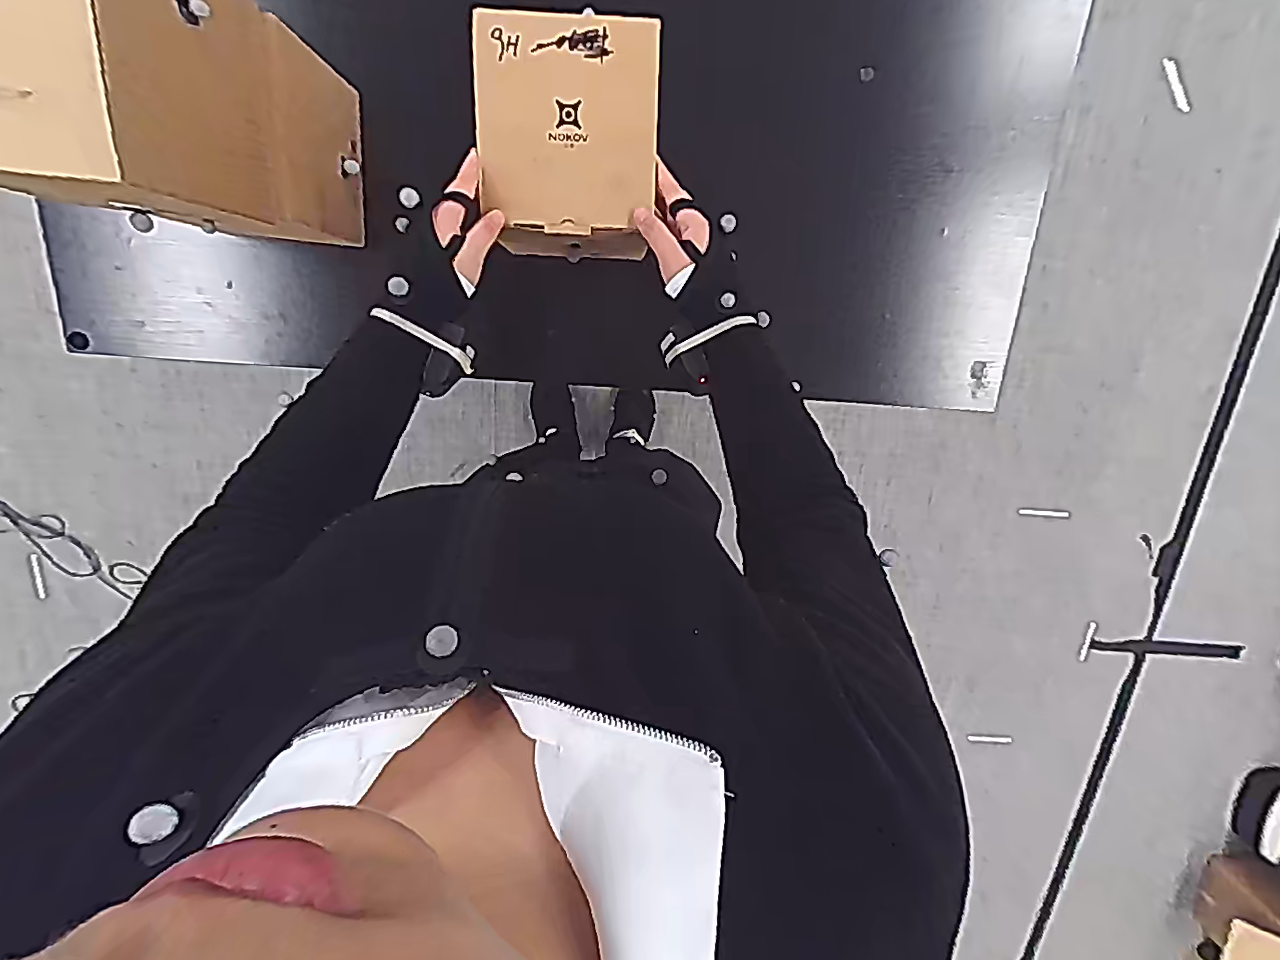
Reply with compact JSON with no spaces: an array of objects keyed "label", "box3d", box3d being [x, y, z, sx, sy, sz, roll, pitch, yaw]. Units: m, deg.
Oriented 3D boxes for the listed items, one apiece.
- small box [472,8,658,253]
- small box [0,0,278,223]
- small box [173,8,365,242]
[{"label":"small box","box3d":[-0.072,-0.345,0.572,0.168,0.176,0.179,2,105,-3]},{"label":"small box","box3d":[-0.404,-0.305,0.398,0.168,0.176,0.179,4,106,-2]},{"label":"small box","box3d":[-0.409,-0.350,0.554,0.179,0.176,0.168,4,105,-5]}]
